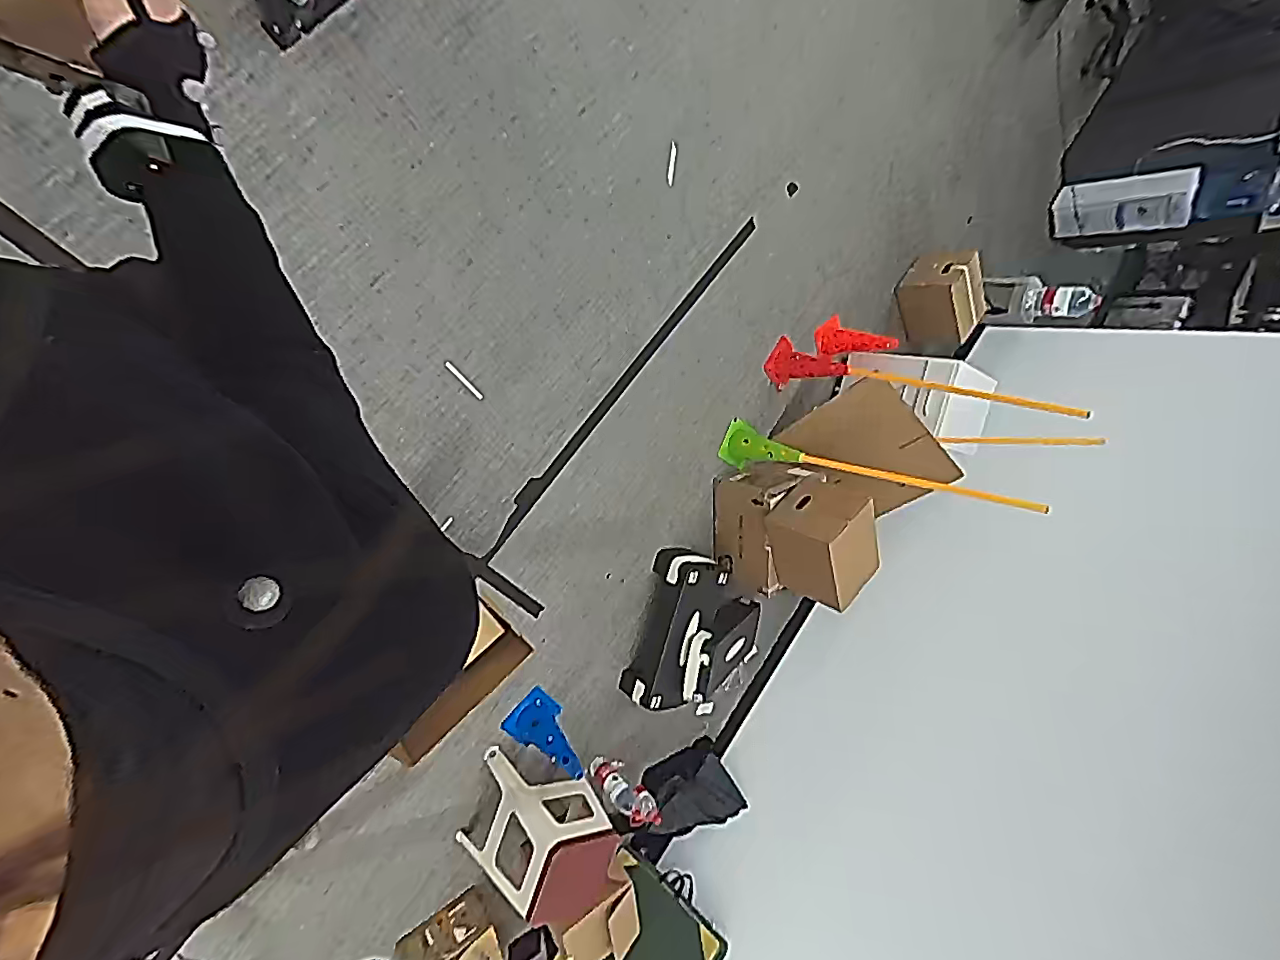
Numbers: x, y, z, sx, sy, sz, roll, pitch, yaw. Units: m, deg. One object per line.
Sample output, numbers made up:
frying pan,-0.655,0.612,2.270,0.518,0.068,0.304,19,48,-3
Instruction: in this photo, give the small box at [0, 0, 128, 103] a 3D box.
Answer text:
small box,-0.550,-0.456,0.458,0.168,0.176,0.179,2,108,-44
